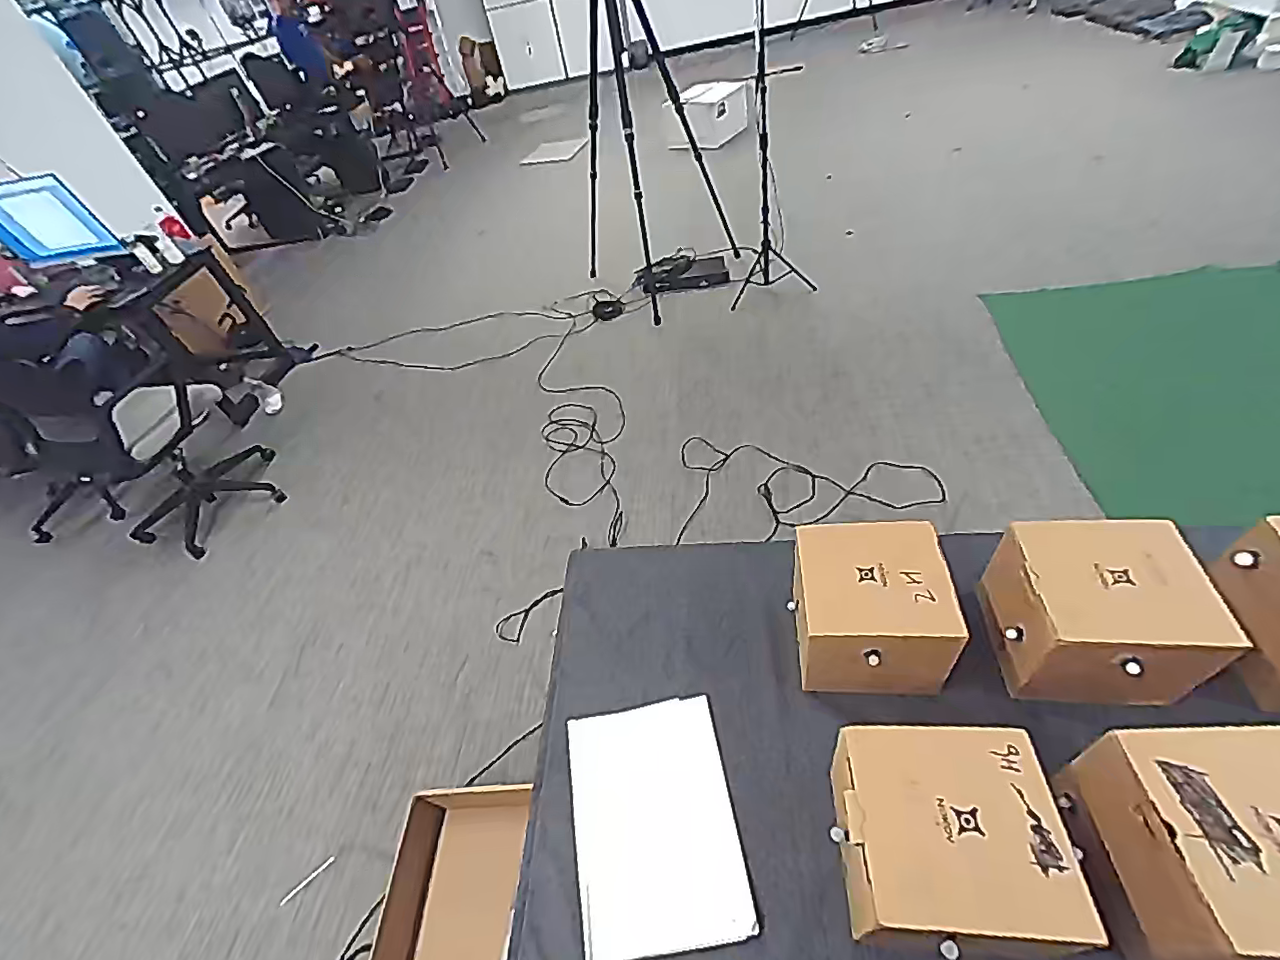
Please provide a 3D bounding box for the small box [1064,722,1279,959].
[{"bbox_3d":[0.541,0.341,0.503,0.179,0.176,0.168,-5,46,8],"label":"small box"}]
